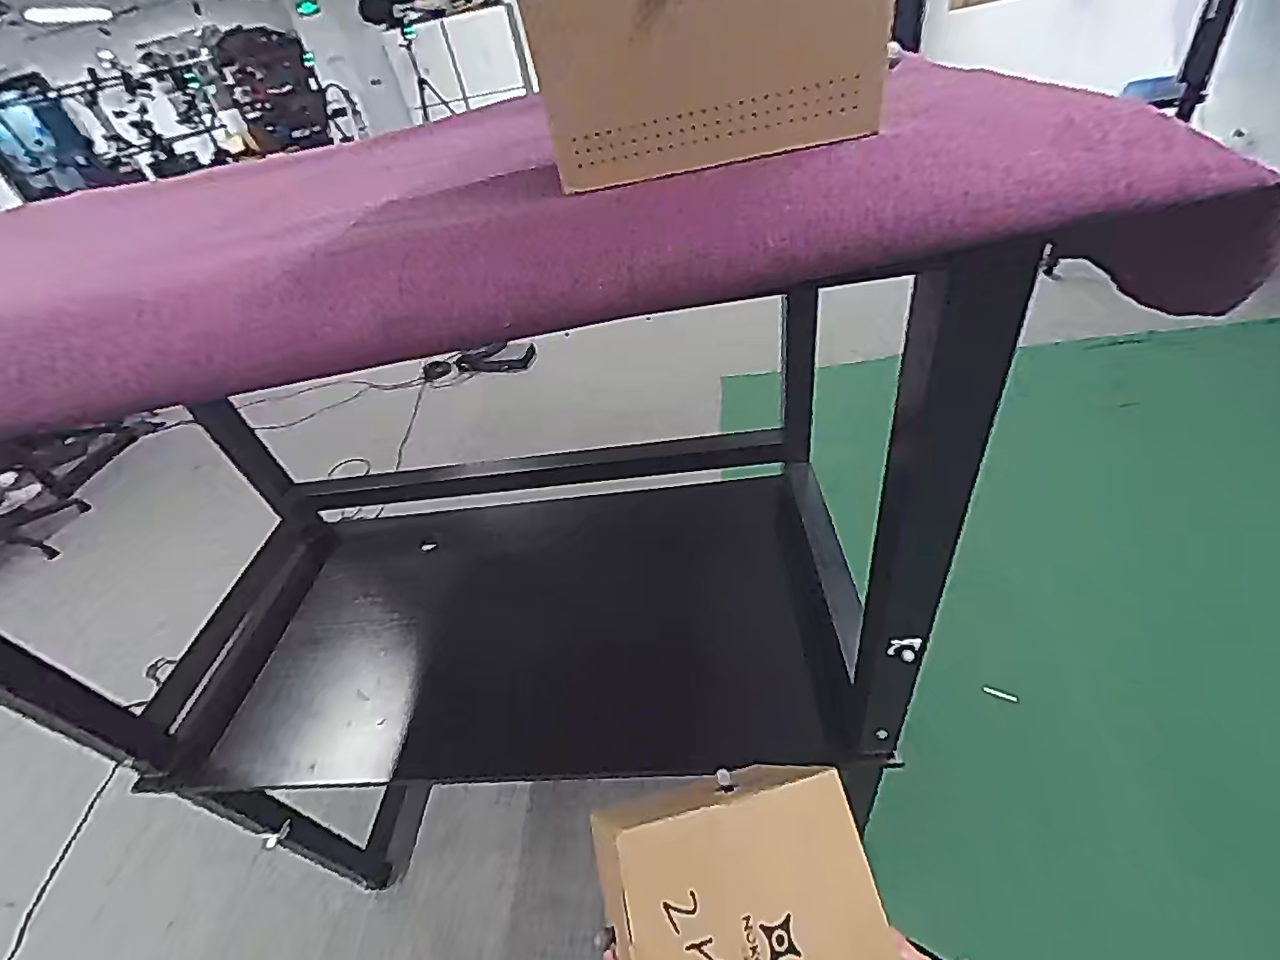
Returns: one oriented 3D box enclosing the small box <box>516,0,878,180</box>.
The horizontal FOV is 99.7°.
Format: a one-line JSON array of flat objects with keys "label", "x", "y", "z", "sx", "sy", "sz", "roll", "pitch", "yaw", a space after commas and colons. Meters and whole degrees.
[{"label": "small box", "x": 0.029, "y": -0.292, "z": 0.302, "sx": 0.179, "sy": 0.176, "sz": 0.168, "roll": -7, "pitch": 41, "yaw": 10}]
